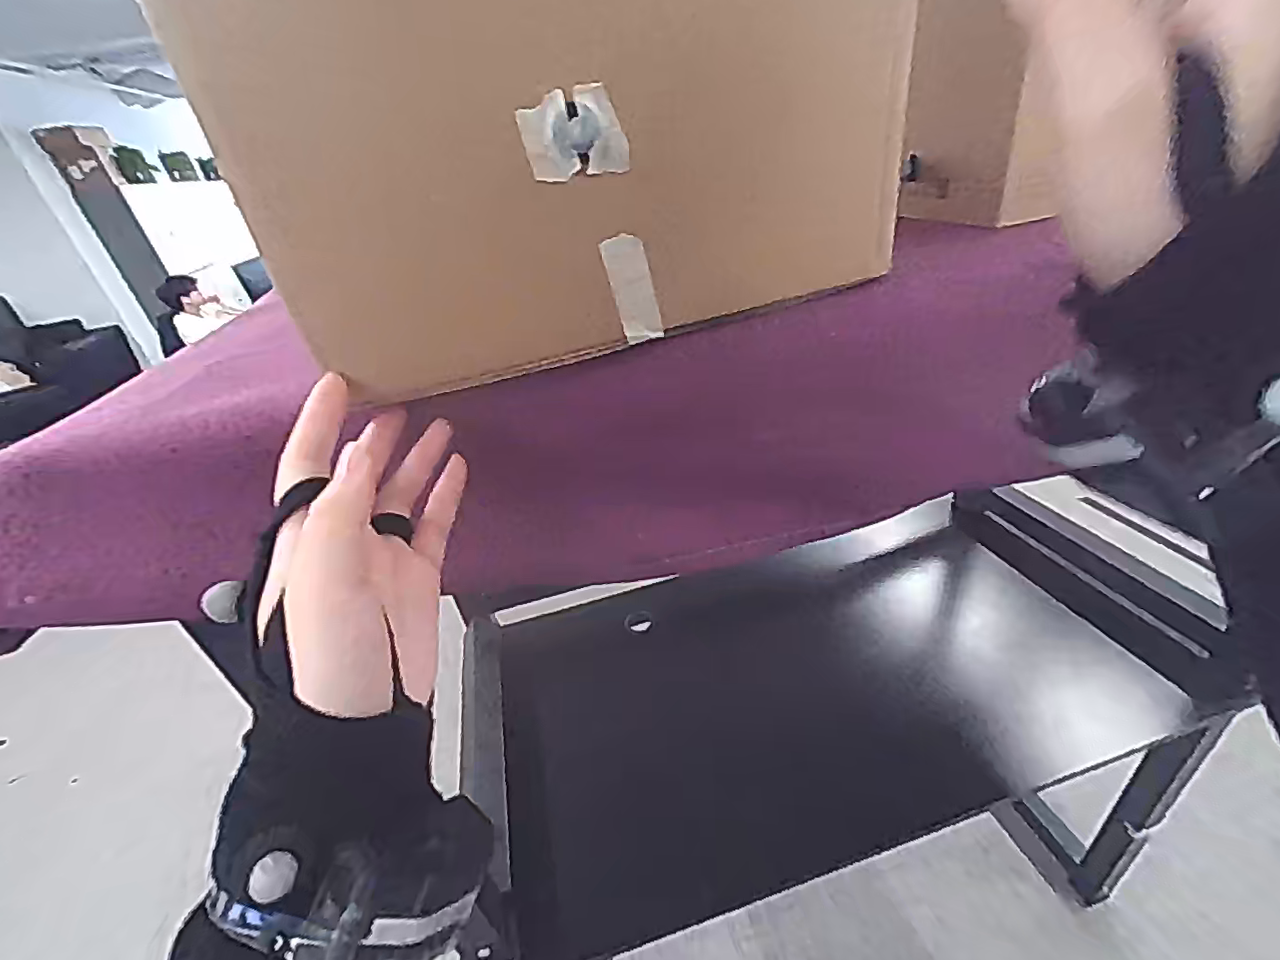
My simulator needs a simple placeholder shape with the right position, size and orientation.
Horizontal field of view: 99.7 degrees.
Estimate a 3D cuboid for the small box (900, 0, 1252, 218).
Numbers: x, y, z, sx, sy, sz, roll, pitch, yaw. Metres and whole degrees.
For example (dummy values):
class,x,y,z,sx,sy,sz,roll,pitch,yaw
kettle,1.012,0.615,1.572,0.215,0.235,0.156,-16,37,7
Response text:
class,x,y,z,sx,sy,sz,roll,pitch,yaw
small box,0.307,-0.316,0.420,0.179,0.176,0.168,-14,31,-6
